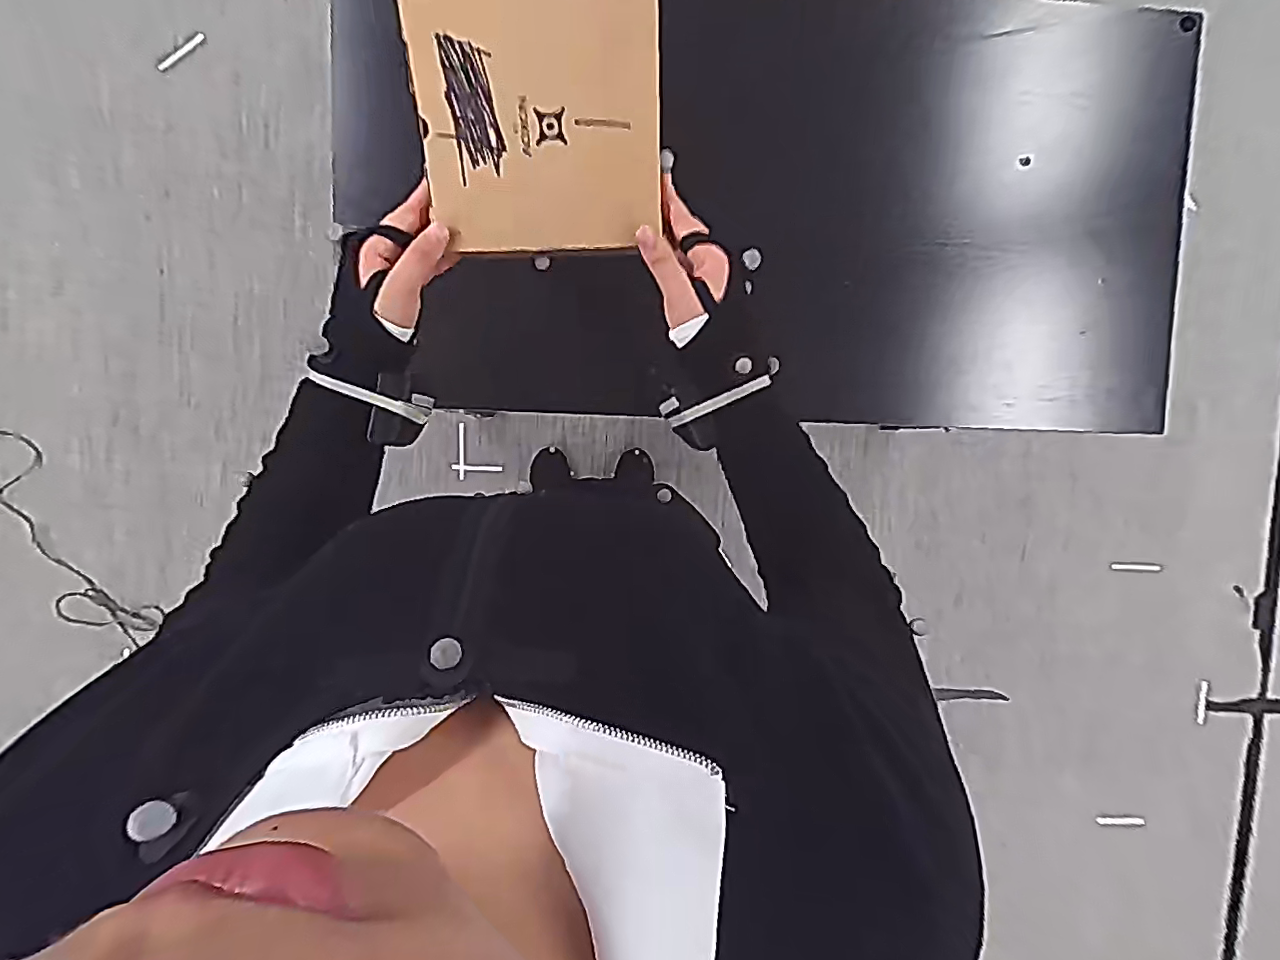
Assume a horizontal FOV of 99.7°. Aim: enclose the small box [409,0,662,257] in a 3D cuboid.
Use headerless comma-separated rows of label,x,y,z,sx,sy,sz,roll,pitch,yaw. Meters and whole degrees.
small box,-0.073,-0.286,0.469,0.179,0.176,0.168,-2,110,-2
